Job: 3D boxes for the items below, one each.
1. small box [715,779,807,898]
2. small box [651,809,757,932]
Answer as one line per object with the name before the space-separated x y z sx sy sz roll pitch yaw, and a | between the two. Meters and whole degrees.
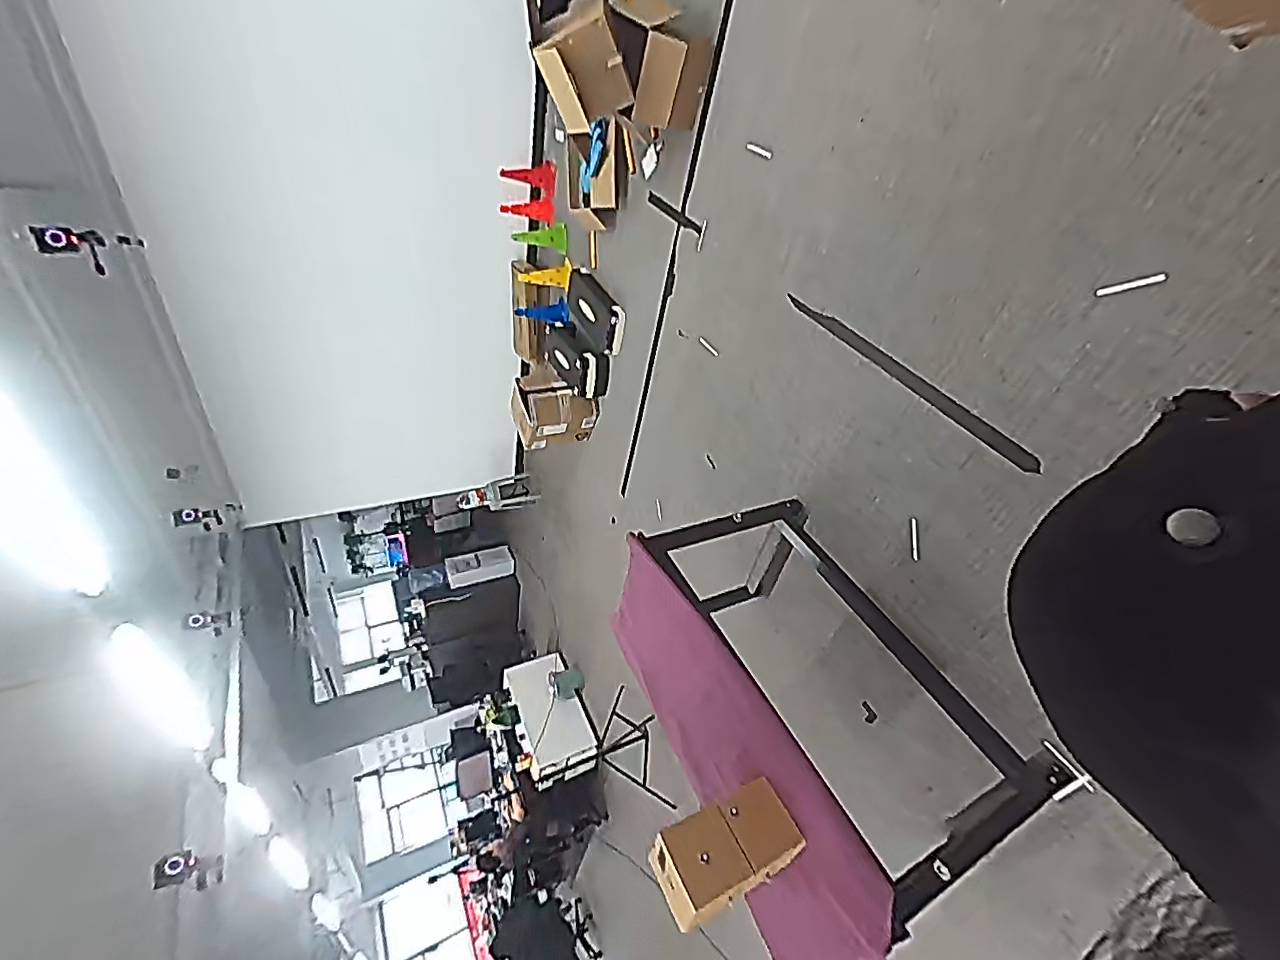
small box | 0.295 0.913 1.388 0.179 0.176 0.168 53 143 42
small box | 0.151 0.936 1.312 0.179 0.176 0.168 52 143 42
